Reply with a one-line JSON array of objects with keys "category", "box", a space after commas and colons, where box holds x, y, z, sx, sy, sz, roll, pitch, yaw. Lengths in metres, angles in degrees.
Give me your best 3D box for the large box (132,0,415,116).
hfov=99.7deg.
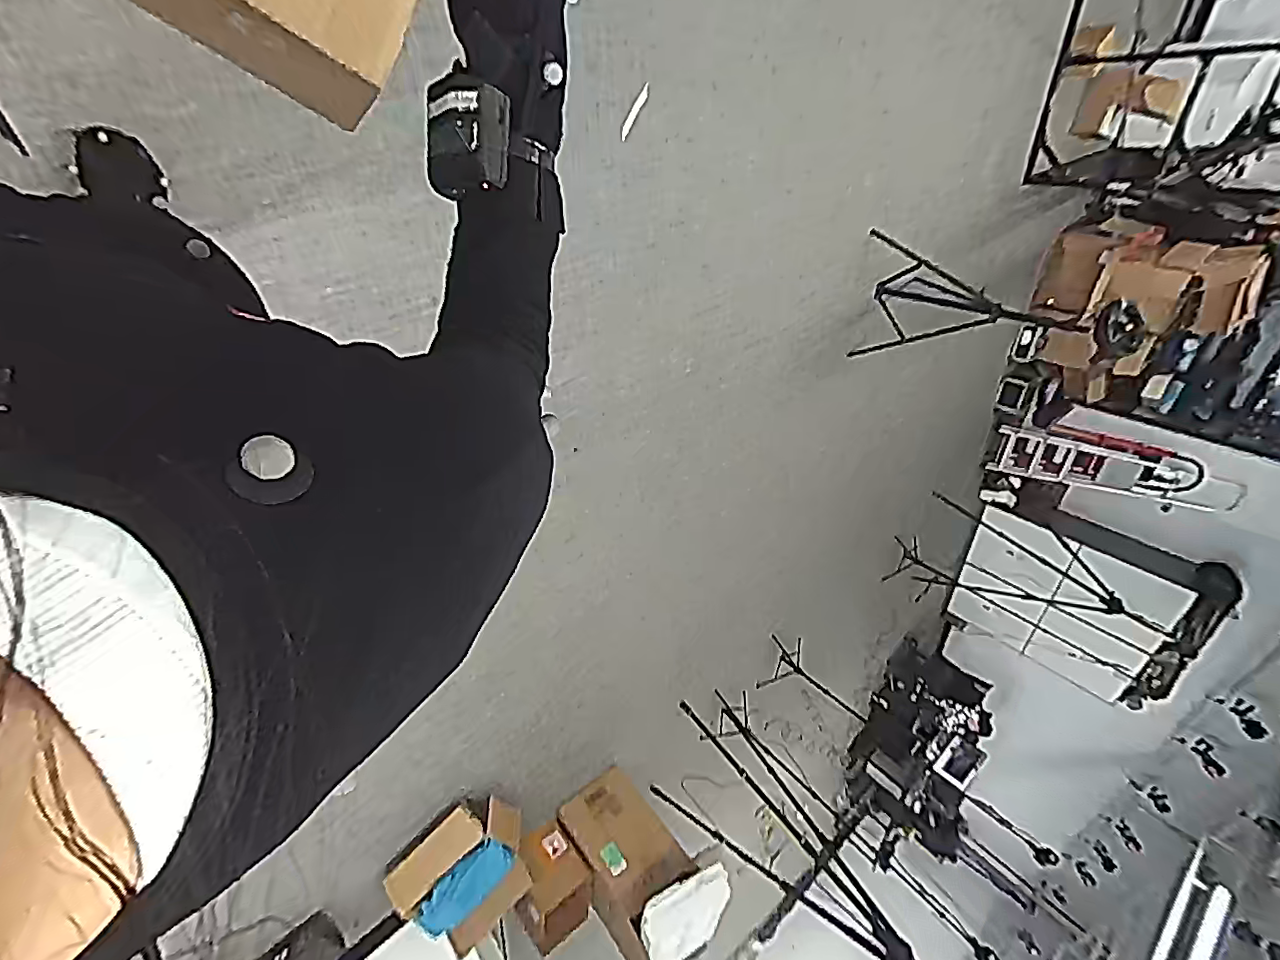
[{"category": "large box", "box": [-0.325, -0.493, 0.306, 0.408, 0.320, 0.320, 17, 106, -39]}]
